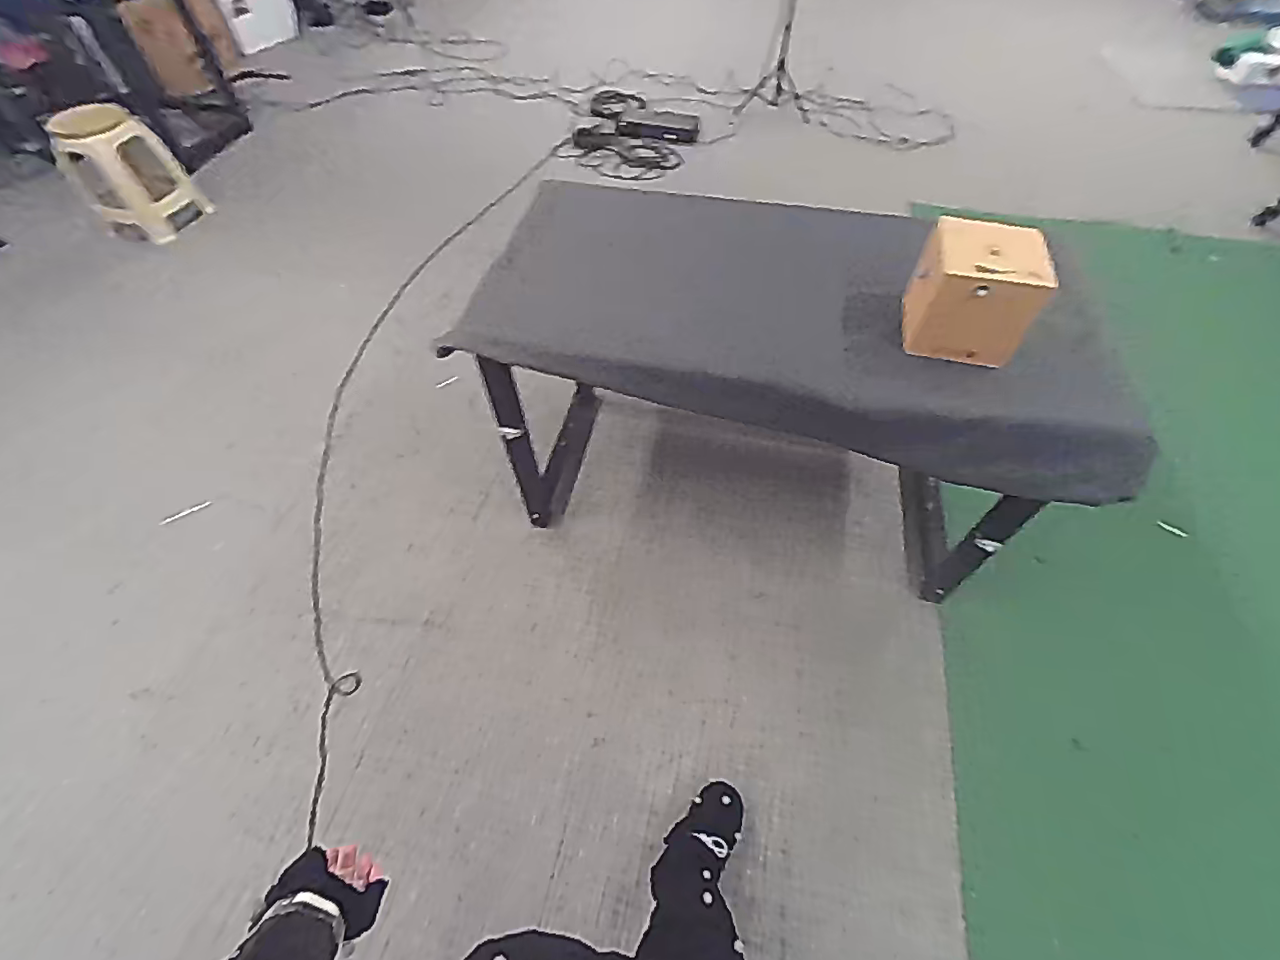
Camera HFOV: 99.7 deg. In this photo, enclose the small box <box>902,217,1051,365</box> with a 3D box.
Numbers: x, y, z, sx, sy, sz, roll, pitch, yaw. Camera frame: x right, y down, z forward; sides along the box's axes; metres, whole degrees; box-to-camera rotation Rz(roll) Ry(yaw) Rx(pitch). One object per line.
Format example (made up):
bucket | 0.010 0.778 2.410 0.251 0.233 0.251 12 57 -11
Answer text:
small box | 0.578 -0.333 0.958 0.168 0.176 0.179 12 55 10
